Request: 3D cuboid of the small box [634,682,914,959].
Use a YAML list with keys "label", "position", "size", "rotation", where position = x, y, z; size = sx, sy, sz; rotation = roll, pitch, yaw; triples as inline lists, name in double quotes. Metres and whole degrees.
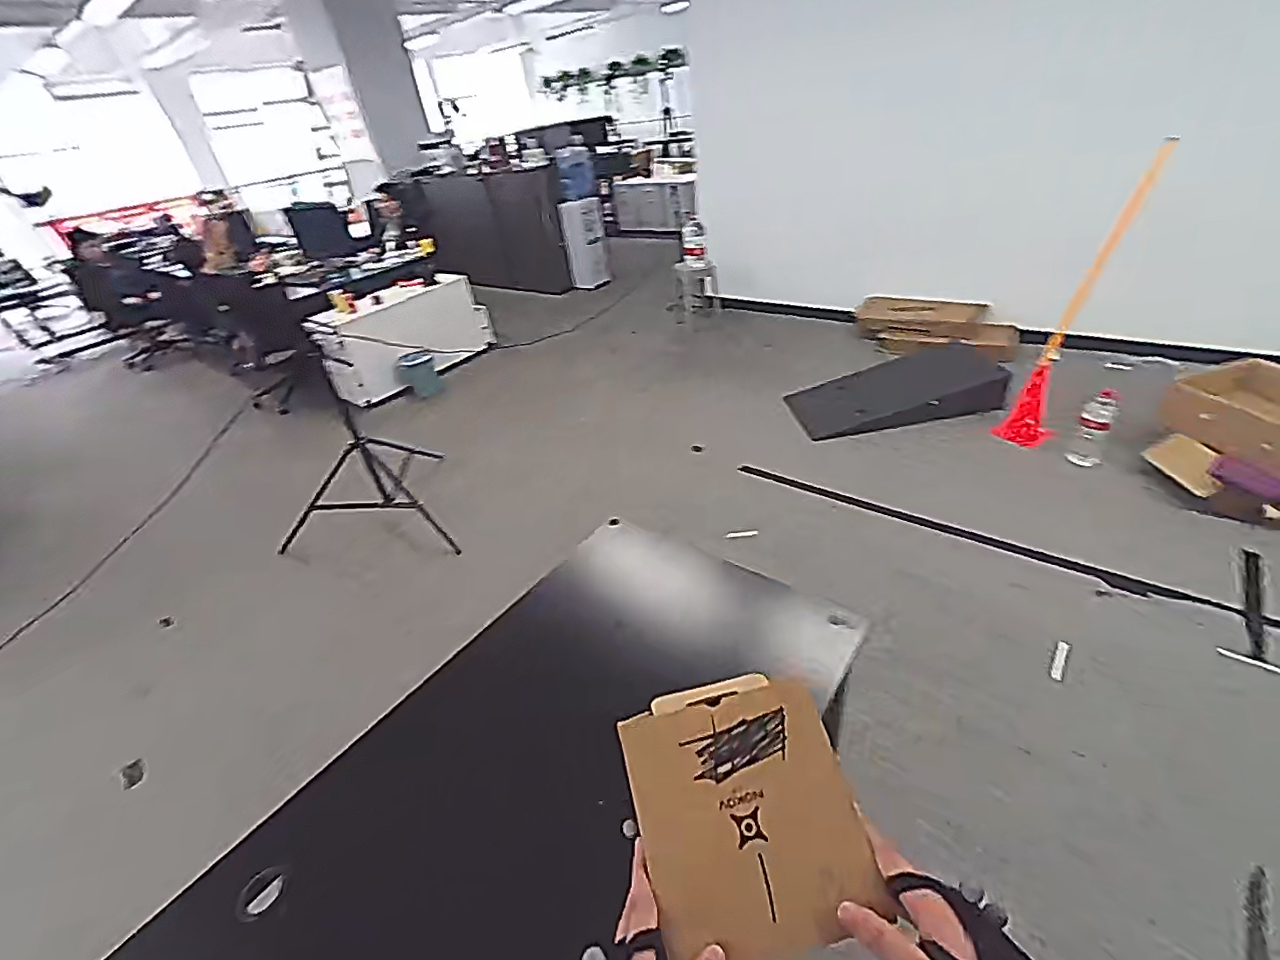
- label: "small box"
  position: [0.092, 0.299, 0.472]
  size: [0.168, 0.176, 0.179]
  rotation: [-12, 59, -6]
